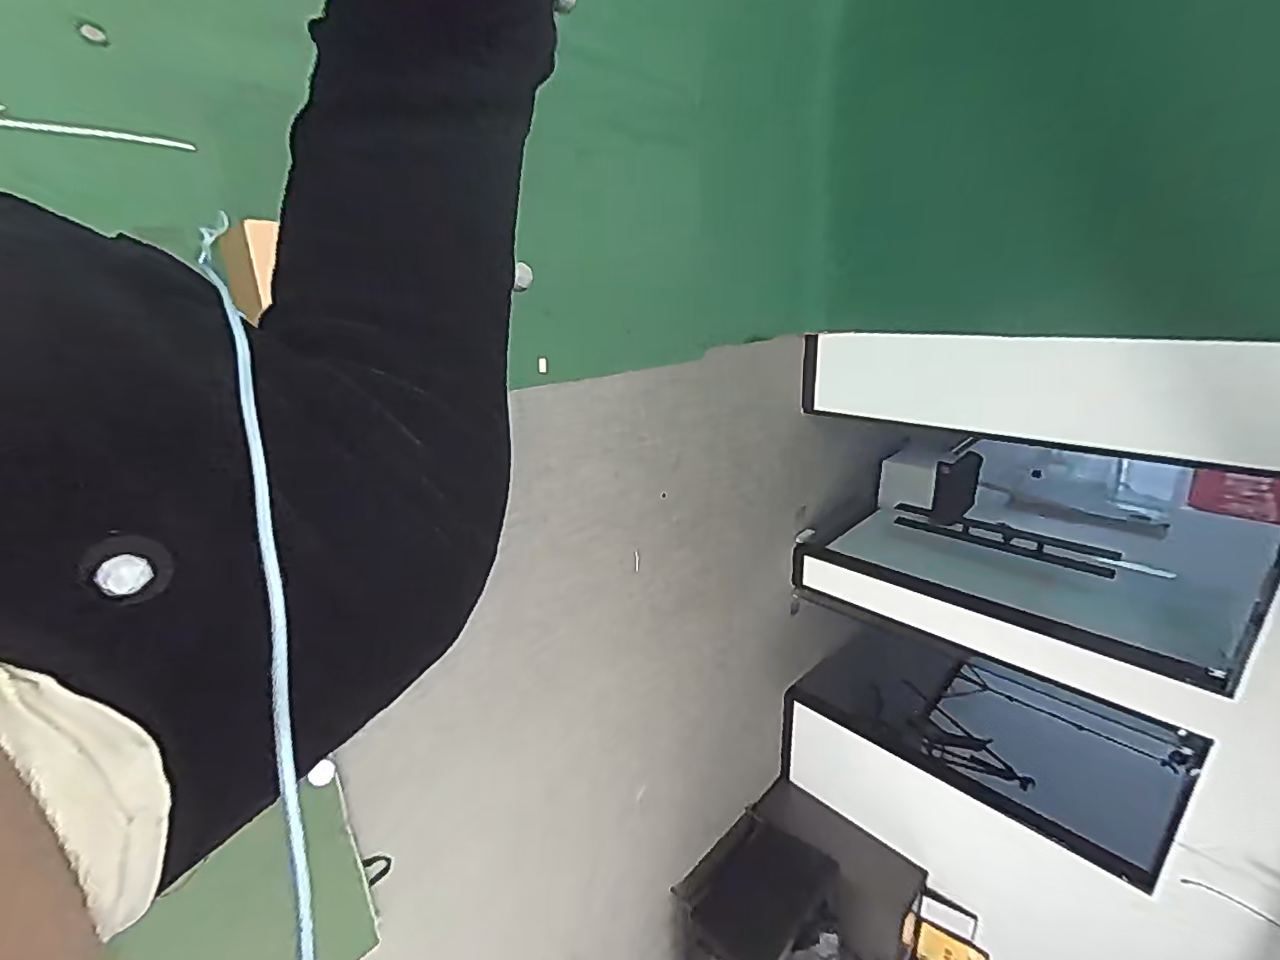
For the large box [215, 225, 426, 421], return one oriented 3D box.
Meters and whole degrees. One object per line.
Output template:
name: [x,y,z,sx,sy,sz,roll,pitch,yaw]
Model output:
large box: [-0.770,-0.386,1.321,0.320,0.320,0.408,-20,116,-41]
